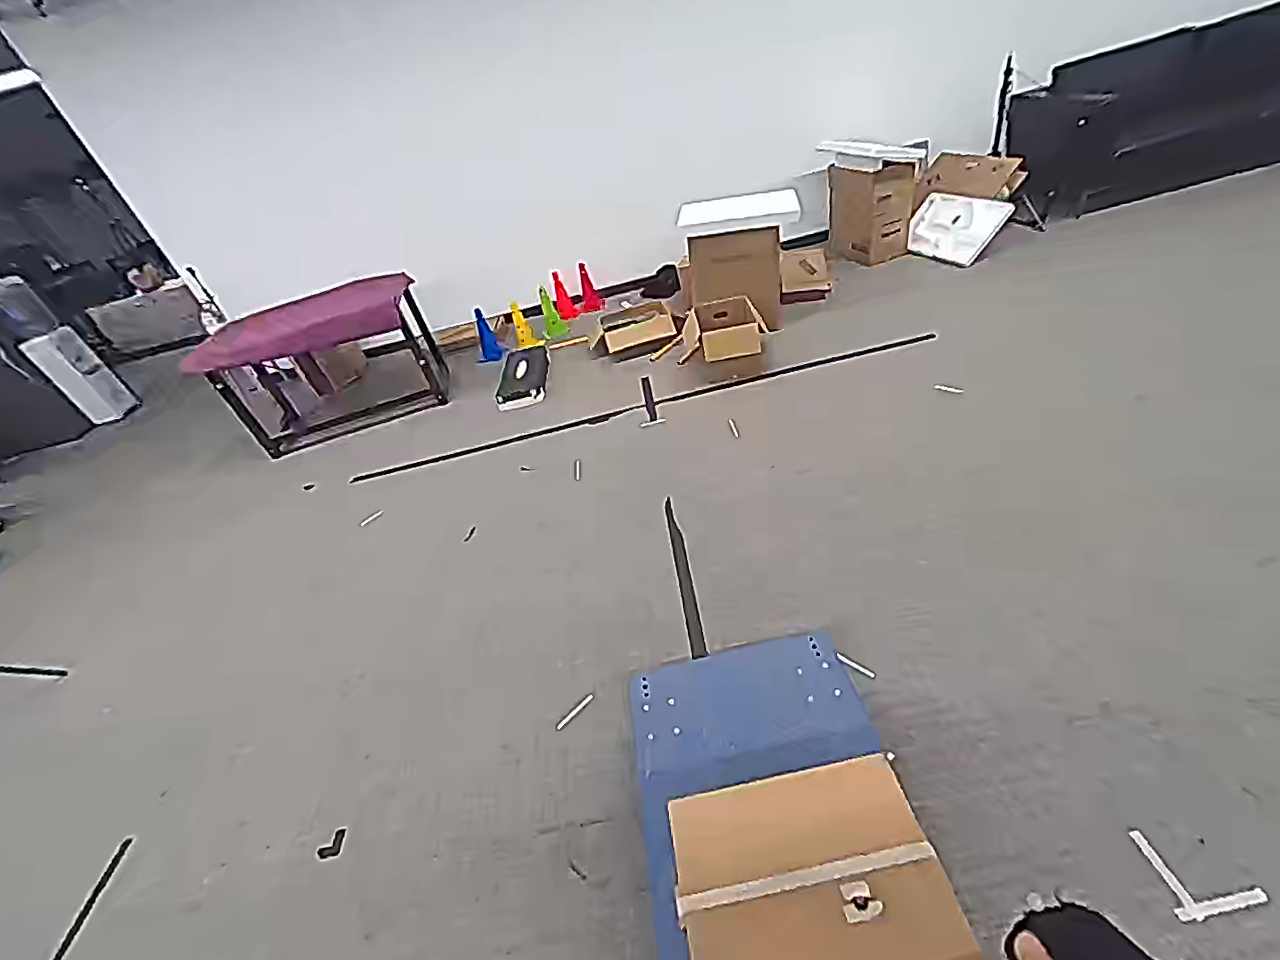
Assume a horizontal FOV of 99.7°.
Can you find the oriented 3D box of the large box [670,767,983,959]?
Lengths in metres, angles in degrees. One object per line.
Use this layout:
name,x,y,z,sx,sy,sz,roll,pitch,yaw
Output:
large box,0.290,0.756,0.917,0.408,0.320,0.320,-13,37,1
